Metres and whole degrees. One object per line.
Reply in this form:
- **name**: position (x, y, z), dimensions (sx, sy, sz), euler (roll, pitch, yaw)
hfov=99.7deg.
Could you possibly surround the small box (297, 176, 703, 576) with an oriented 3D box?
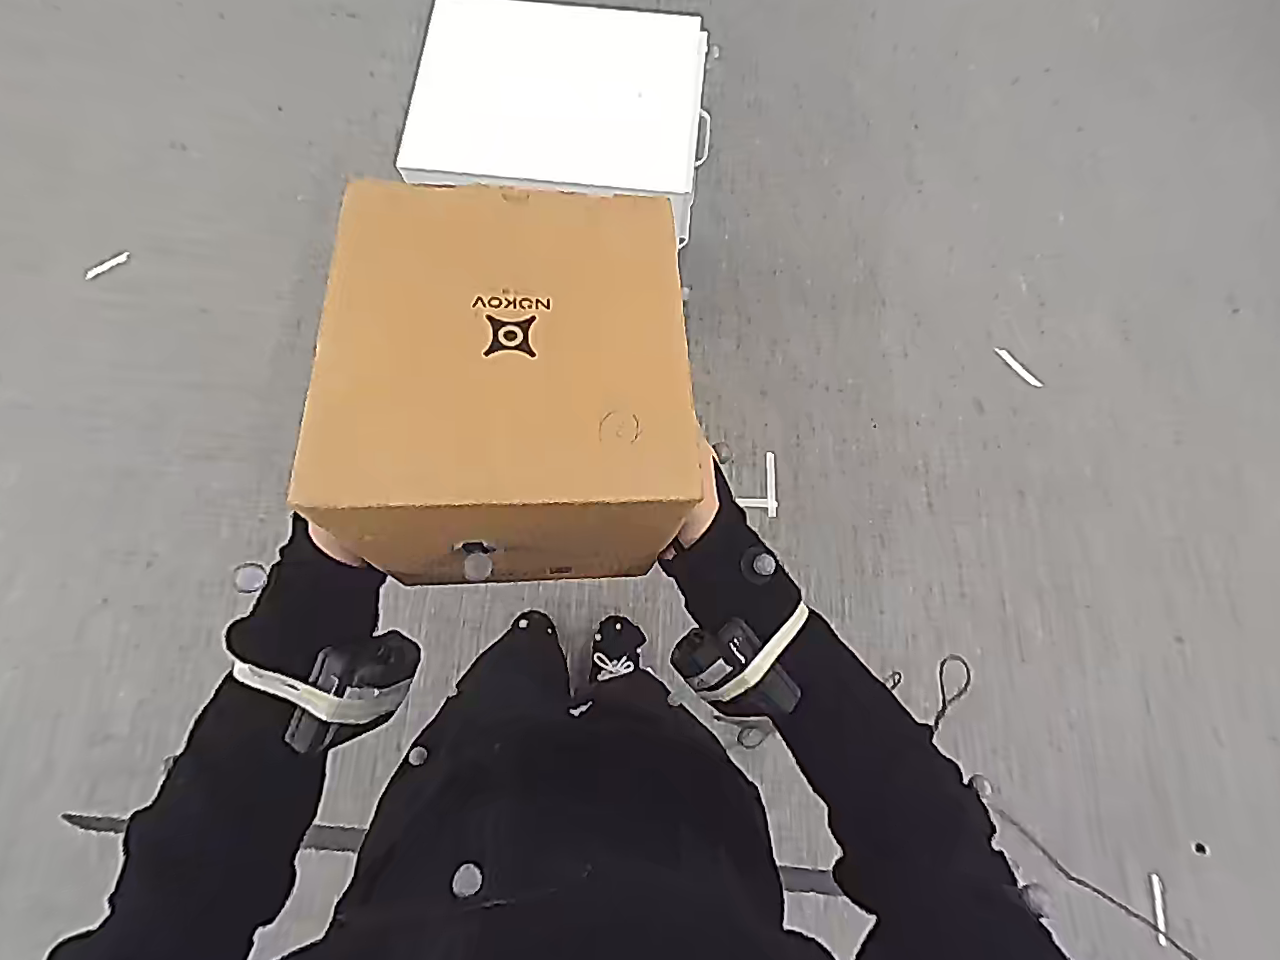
- **small box**: position (-0.067, -0.043, 0.322), dimensions (0.168, 0.176, 0.179), euler (-1, 68, -9)
